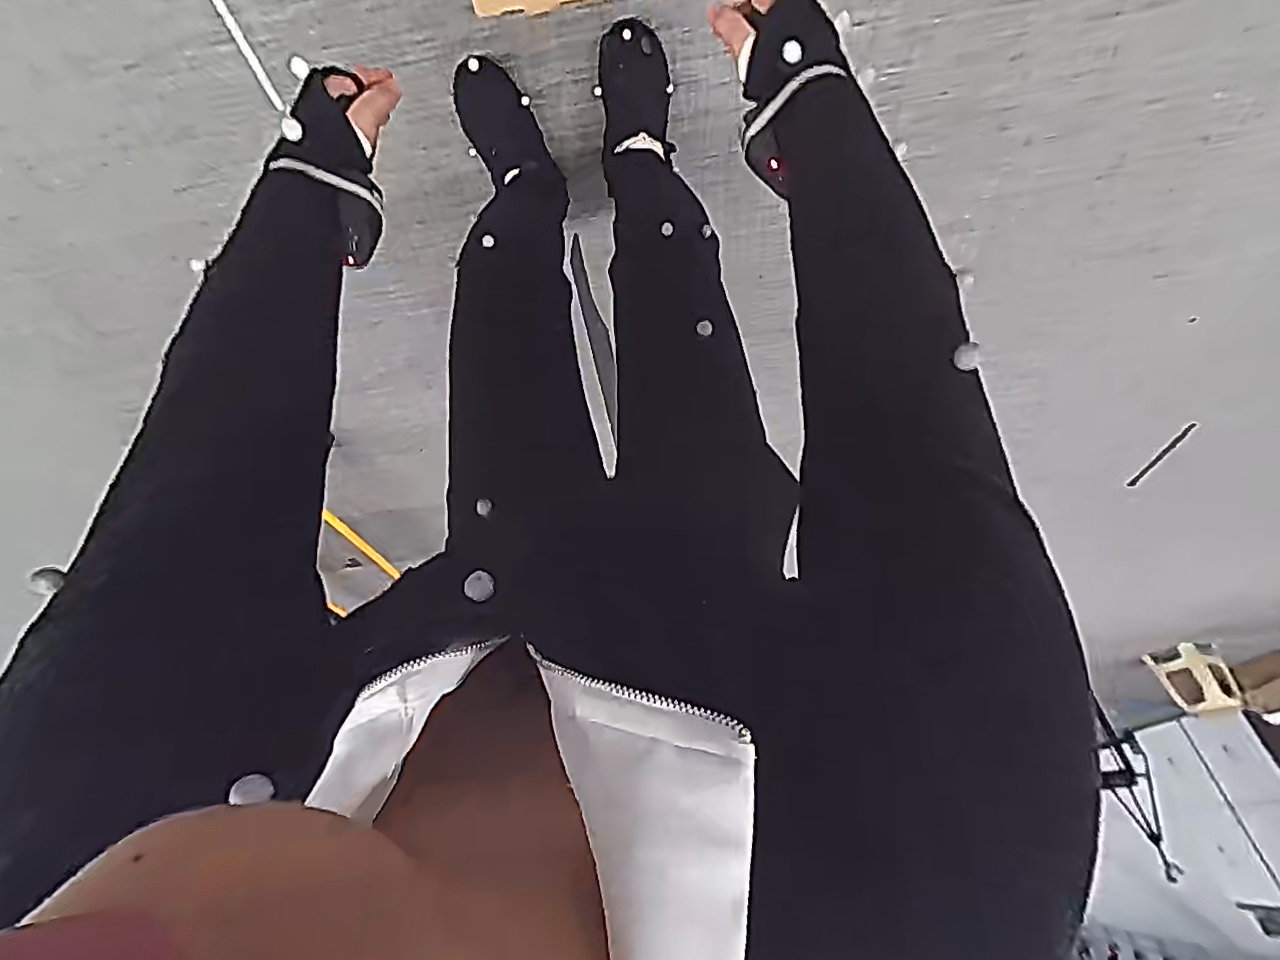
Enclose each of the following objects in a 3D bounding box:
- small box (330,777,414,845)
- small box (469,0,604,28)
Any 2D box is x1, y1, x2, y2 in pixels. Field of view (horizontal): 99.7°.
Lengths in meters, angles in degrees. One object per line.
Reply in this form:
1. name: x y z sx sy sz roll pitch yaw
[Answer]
1. small box: -0.860 1.078 1.755 0.179 0.176 0.168 -7 145 1
2. small box: -0.135 -0.683 0.640 0.168 0.176 0.179 -7 146 2
